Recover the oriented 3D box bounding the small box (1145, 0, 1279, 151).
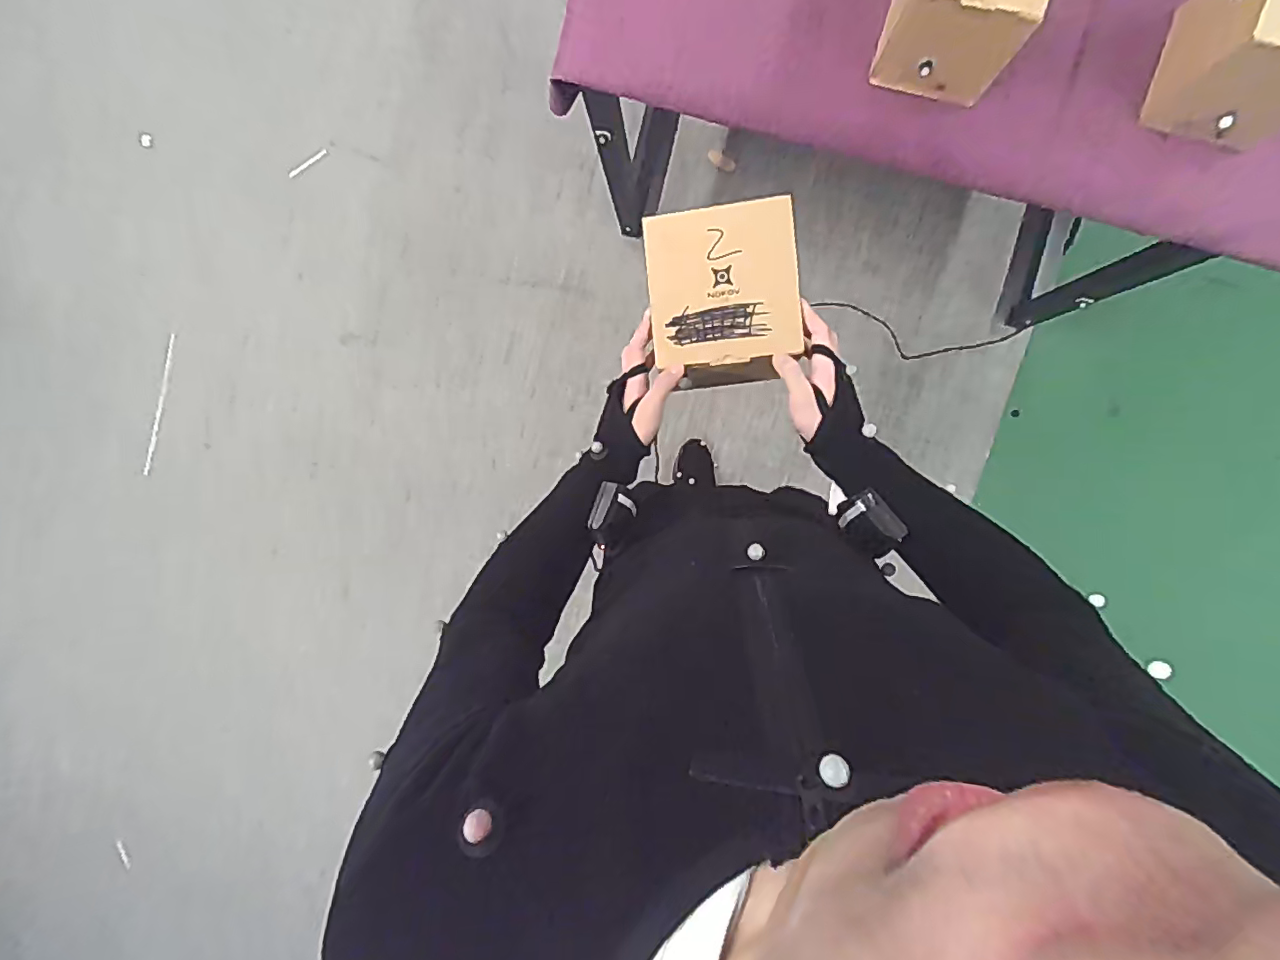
[{"bbox_3d":[0.838,-0.587,0.717,0.168,0.176,0.179,18,93,5],"label":"small box"}]
